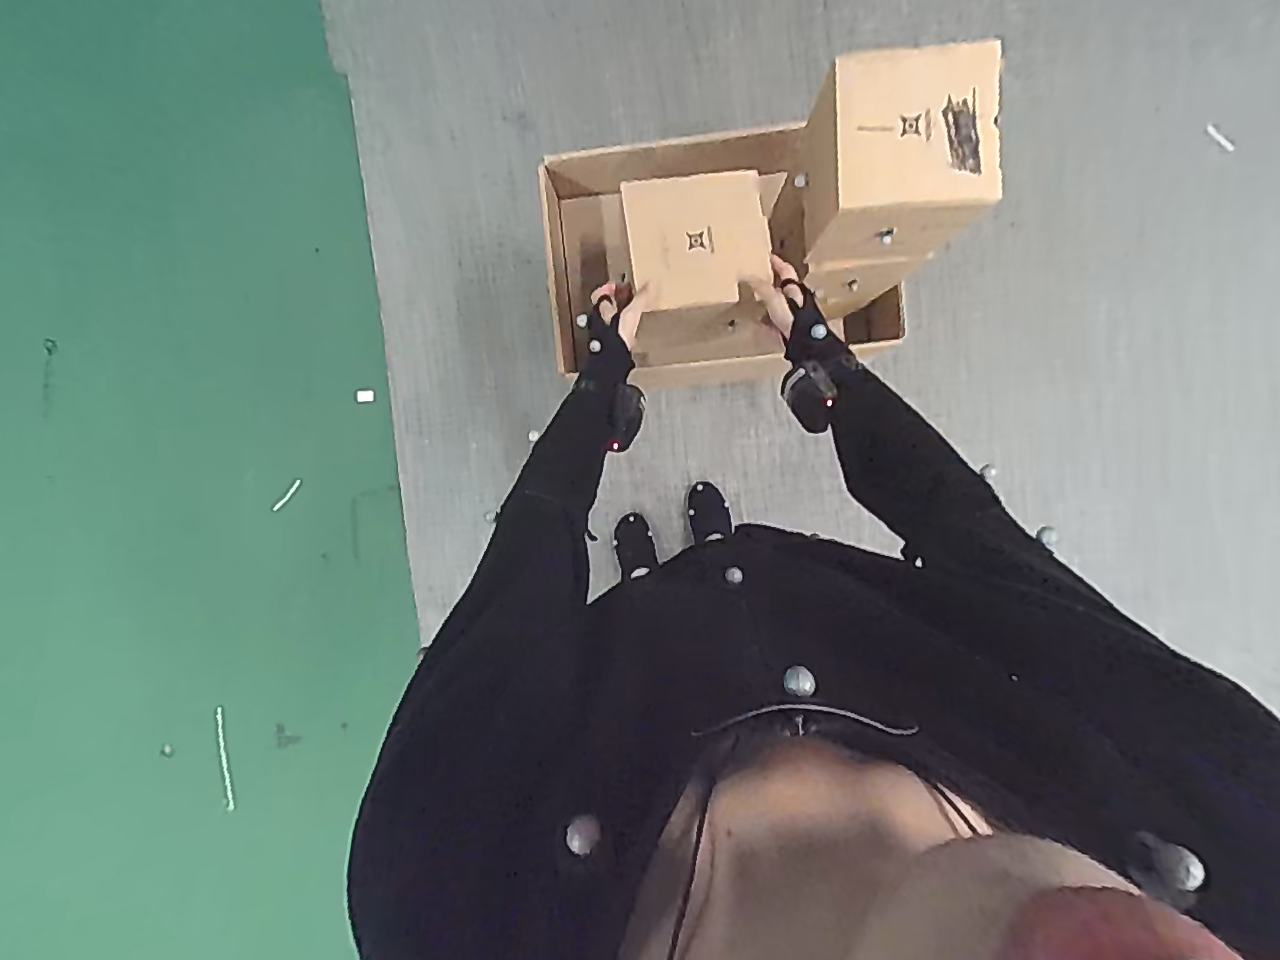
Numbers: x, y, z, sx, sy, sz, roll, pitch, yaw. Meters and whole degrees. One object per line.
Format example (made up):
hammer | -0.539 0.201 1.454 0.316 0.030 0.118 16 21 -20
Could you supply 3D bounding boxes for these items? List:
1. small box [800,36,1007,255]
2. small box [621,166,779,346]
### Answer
small box | 0.303 -0.385 0.652 0.179 0.176 0.168 -2 93 3
small box | 0.070 -0.291 0.734 0.179 0.176 0.168 -7 87 -3
